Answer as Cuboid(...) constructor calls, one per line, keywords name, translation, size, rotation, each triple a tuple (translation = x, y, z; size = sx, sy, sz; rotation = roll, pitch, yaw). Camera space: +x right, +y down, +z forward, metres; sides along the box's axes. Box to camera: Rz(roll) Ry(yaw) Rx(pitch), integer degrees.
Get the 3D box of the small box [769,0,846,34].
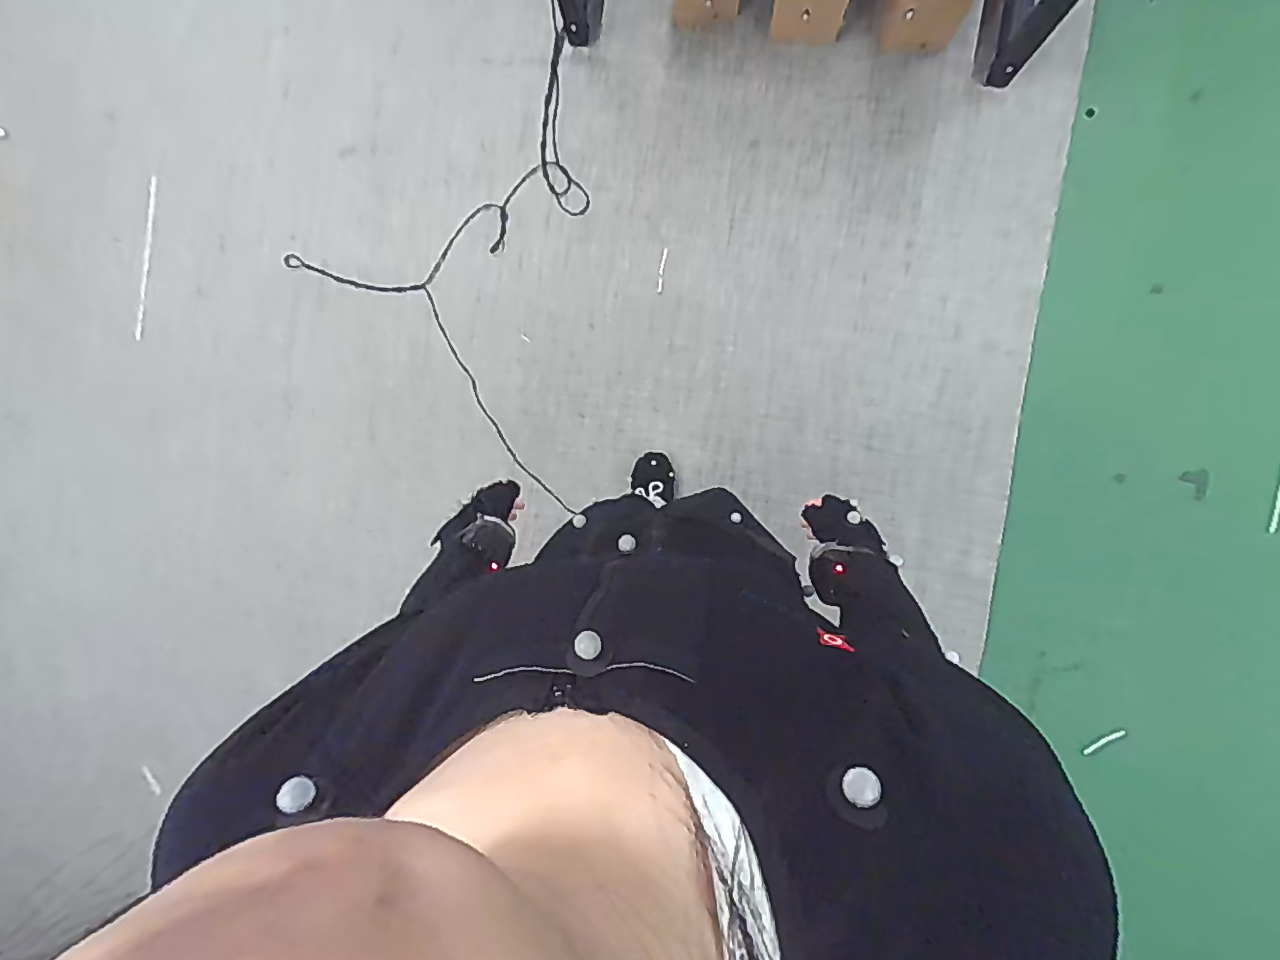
Cuboid(name="small box", translation=(0.431, -1.255, 1.343), size=(0.179, 0.176, 0.168), rotation=(7, 92, 5))
